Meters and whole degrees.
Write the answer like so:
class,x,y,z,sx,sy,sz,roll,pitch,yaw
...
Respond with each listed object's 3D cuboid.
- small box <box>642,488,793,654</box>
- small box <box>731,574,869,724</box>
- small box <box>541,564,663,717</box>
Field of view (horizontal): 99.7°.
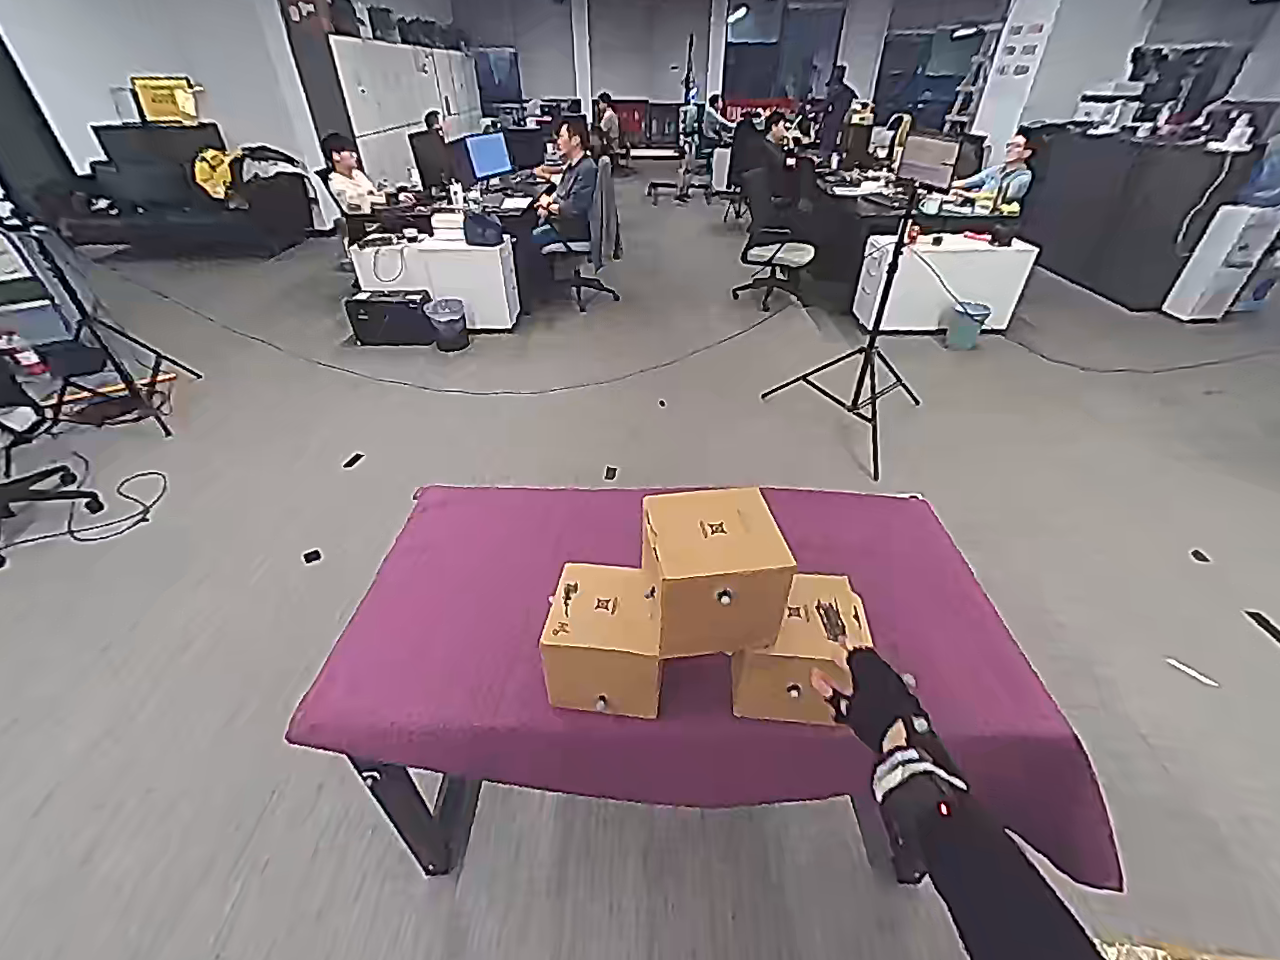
class,x,y,z,sx,sy,sz,roll,pitch,yaw
small box,0.100,0.133,0.783,0.179,0.176,0.168,-4,37,-7
small box,0.243,0.270,0.870,0.179,0.176,0.168,3,36,6
small box,-0.048,0.262,0.882,0.179,0.176,0.168,5,36,5
